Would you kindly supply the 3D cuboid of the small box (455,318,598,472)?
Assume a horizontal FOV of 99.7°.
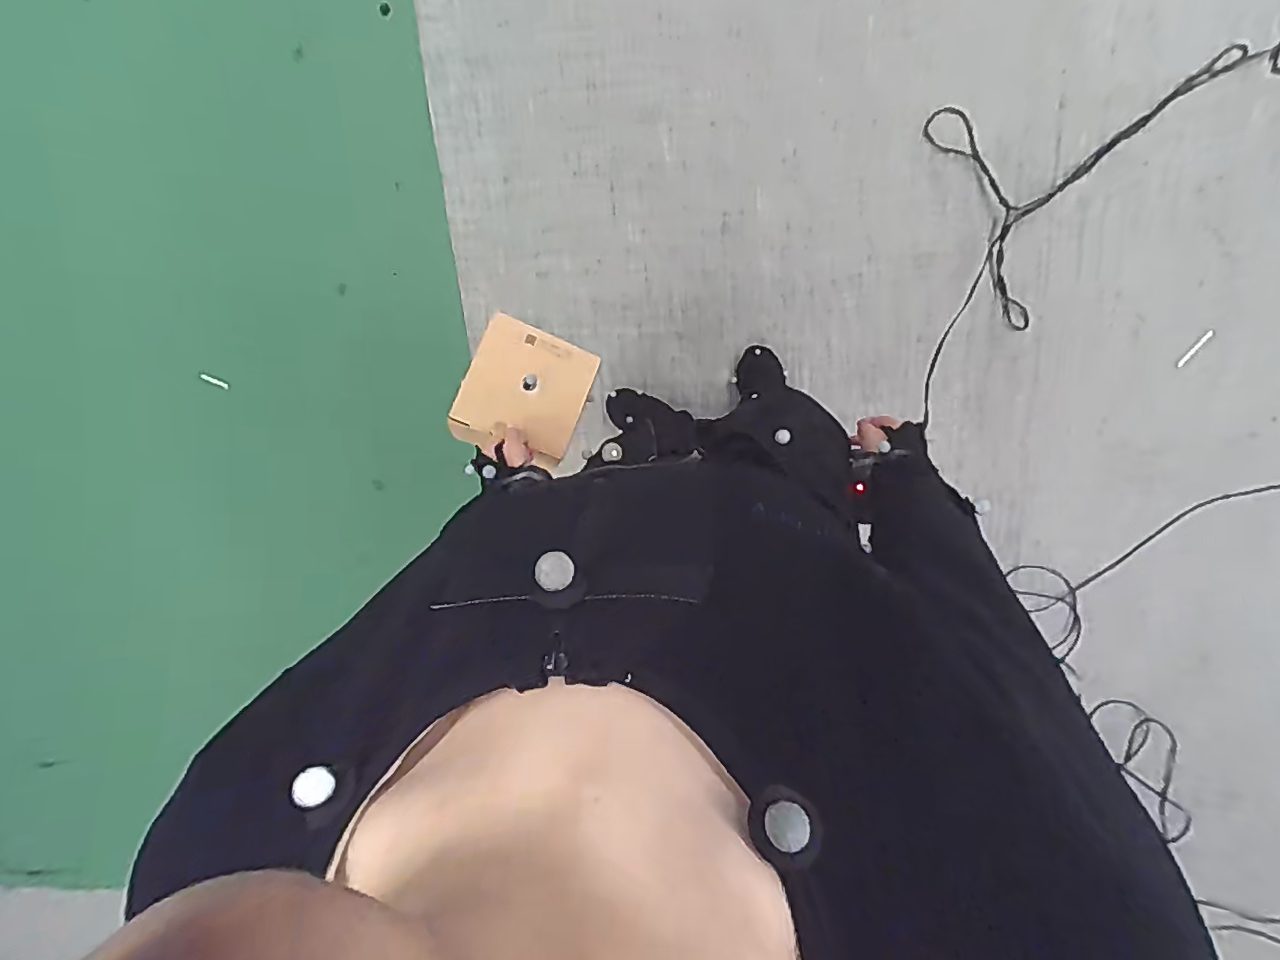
[{"bbox_3d":[-0.177,-0.125,0.838,0.168,0.179,0.176,21,79,-14],"label":"small box"}]
